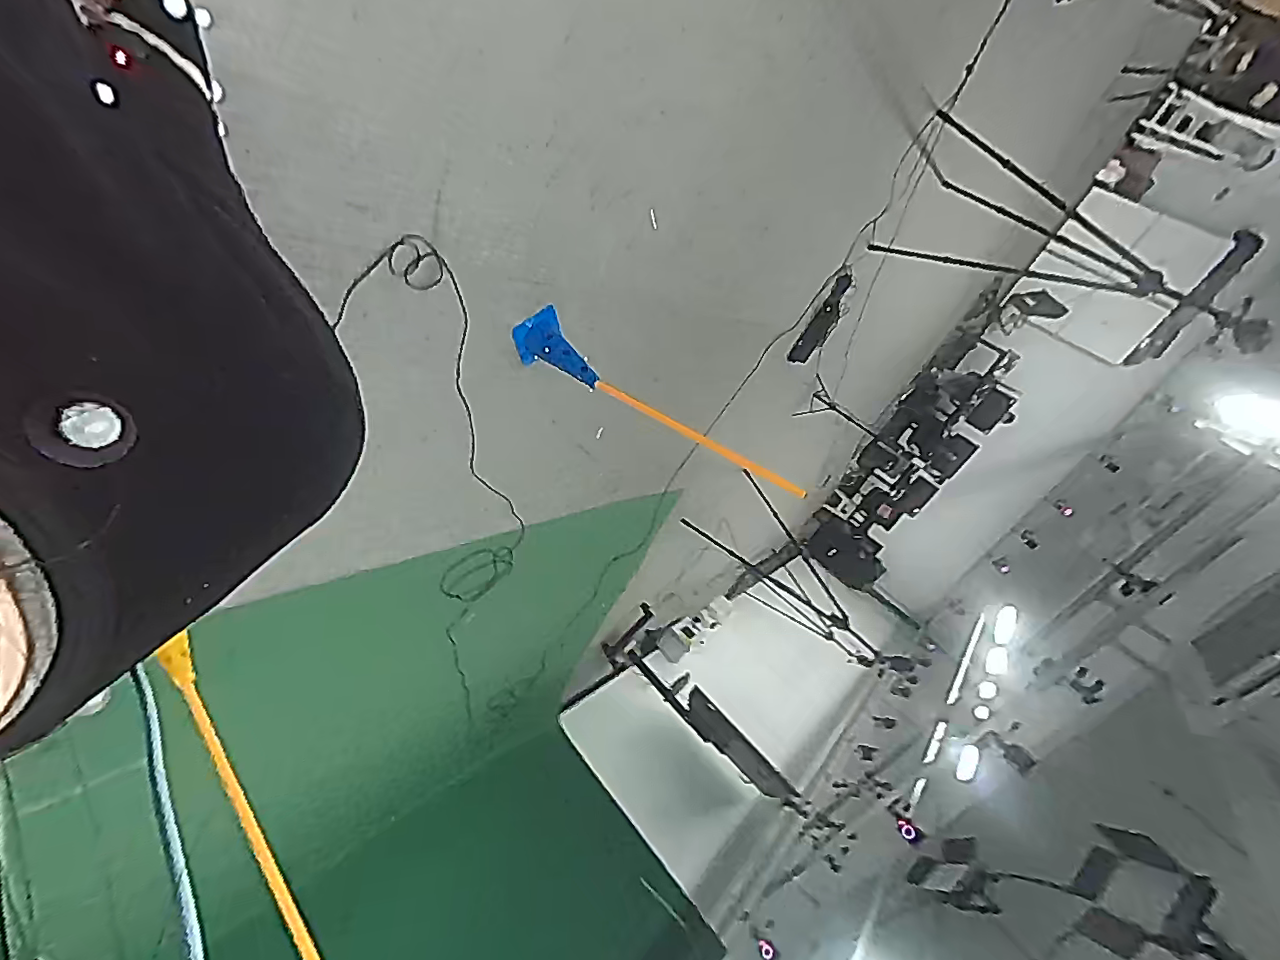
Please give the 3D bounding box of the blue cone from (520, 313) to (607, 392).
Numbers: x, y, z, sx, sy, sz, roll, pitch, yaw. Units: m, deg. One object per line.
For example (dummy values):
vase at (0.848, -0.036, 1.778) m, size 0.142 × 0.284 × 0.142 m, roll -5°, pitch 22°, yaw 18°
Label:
blue cone at (-0.262, -0.446, 2.027) m, size 0.193 × 0.380 × 0.192 m, roll -42°, pitch 154°, yaw -16°
